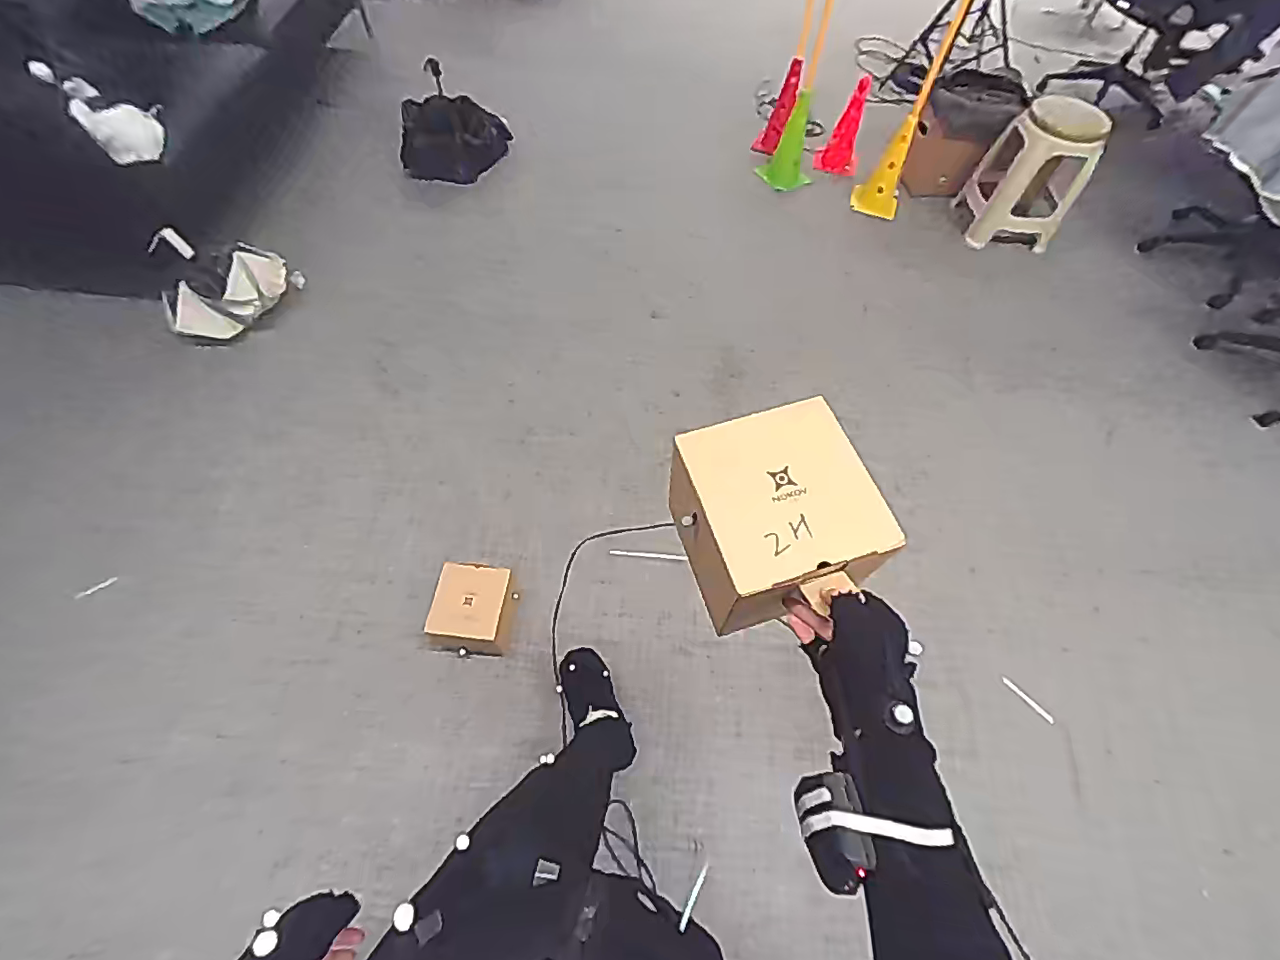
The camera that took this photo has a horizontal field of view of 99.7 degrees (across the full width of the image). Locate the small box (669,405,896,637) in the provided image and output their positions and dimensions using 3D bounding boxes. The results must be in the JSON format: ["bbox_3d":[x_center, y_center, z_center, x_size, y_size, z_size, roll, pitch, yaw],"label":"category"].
[{"bbox_3d":[0.134,0.051,0.592,0.168,0.176,0.179,-17,63,-7],"label":"small box"}]

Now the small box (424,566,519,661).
[{"bbox_3d":[-0.406,0.332,1.339,0.168,0.176,0.179,7,60,2],"label":"small box"}]
